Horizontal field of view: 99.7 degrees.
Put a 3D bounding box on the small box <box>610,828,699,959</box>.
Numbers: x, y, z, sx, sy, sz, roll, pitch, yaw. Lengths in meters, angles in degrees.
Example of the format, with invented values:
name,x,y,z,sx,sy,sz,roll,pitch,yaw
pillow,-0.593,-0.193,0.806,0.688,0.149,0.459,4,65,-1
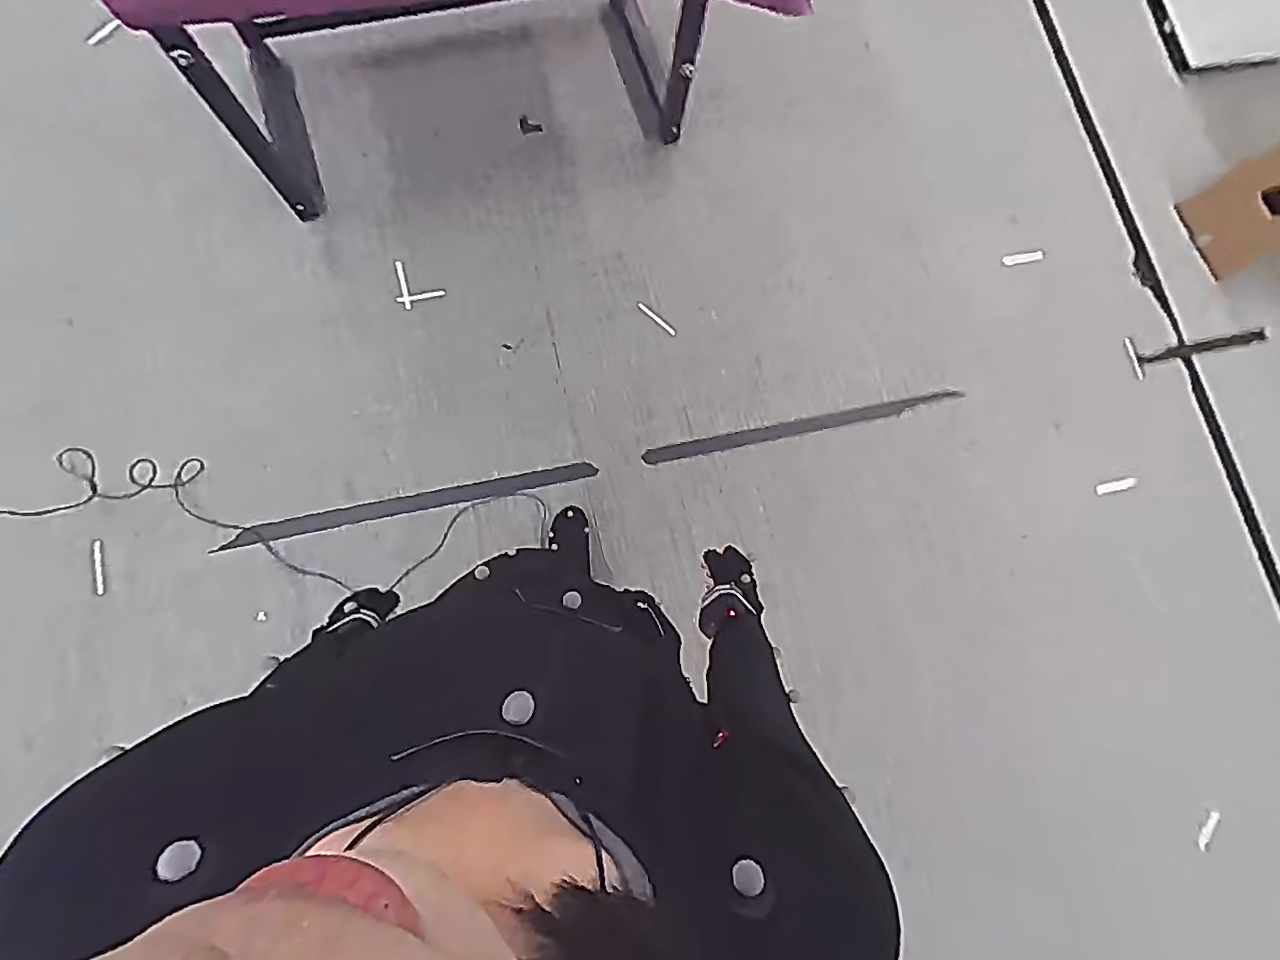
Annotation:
name,x,y,z,sx,sy,sz,roll,pitch,yaw
small box,0.027,0.965,1.270,0.168,0.176,0.179,-14,81,-7
